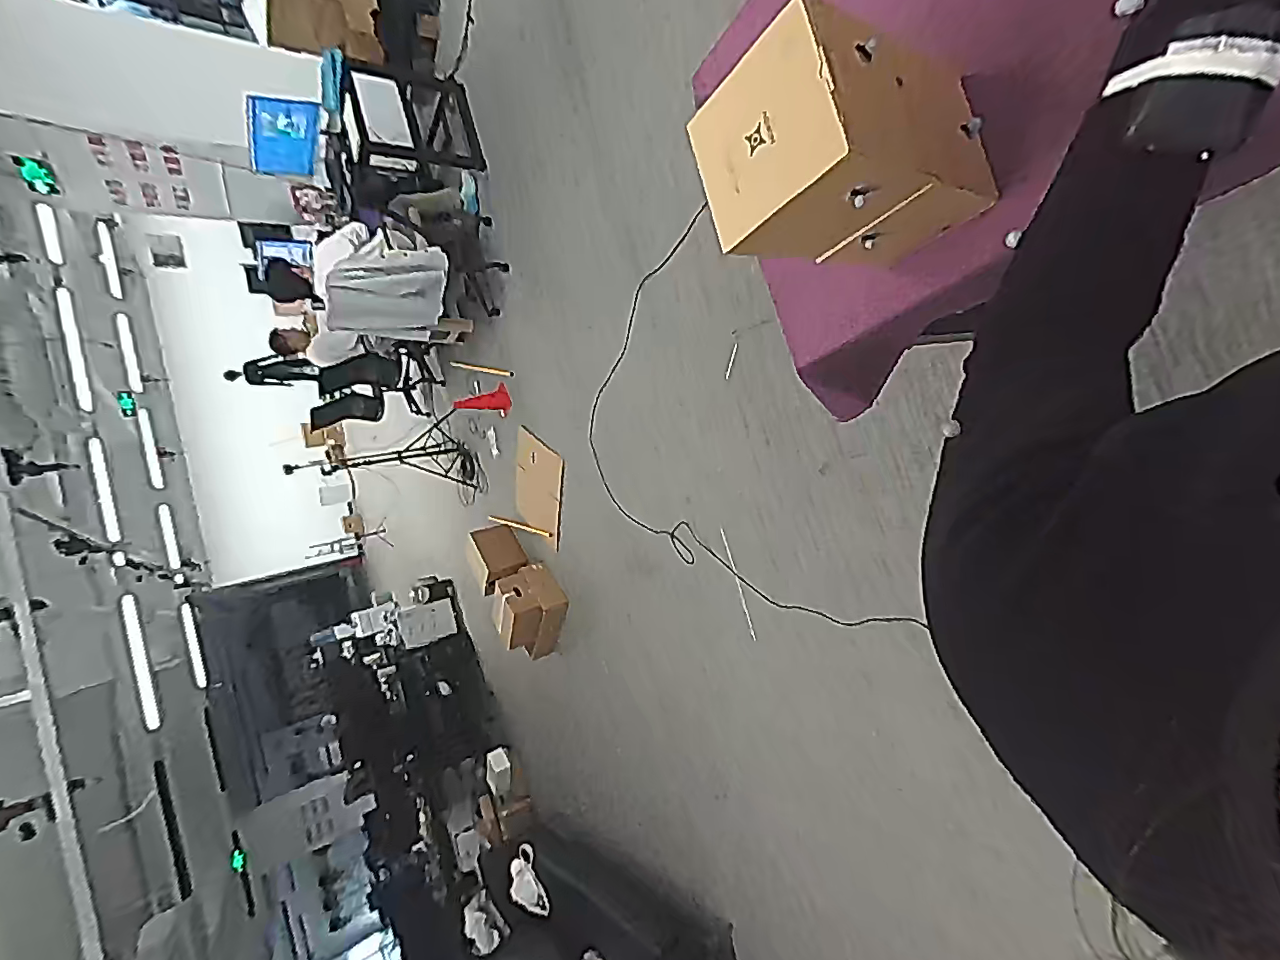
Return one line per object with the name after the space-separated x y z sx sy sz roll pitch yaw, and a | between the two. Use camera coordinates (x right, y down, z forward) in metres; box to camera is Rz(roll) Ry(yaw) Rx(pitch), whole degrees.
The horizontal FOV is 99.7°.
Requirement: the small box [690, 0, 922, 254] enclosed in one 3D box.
0.190 -0.377 0.613 0.179 0.176 0.168 -19 85 55 | small box

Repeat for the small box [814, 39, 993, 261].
0.321 -0.408 0.707 0.168 0.176 0.179 -21 83 55 | small box
